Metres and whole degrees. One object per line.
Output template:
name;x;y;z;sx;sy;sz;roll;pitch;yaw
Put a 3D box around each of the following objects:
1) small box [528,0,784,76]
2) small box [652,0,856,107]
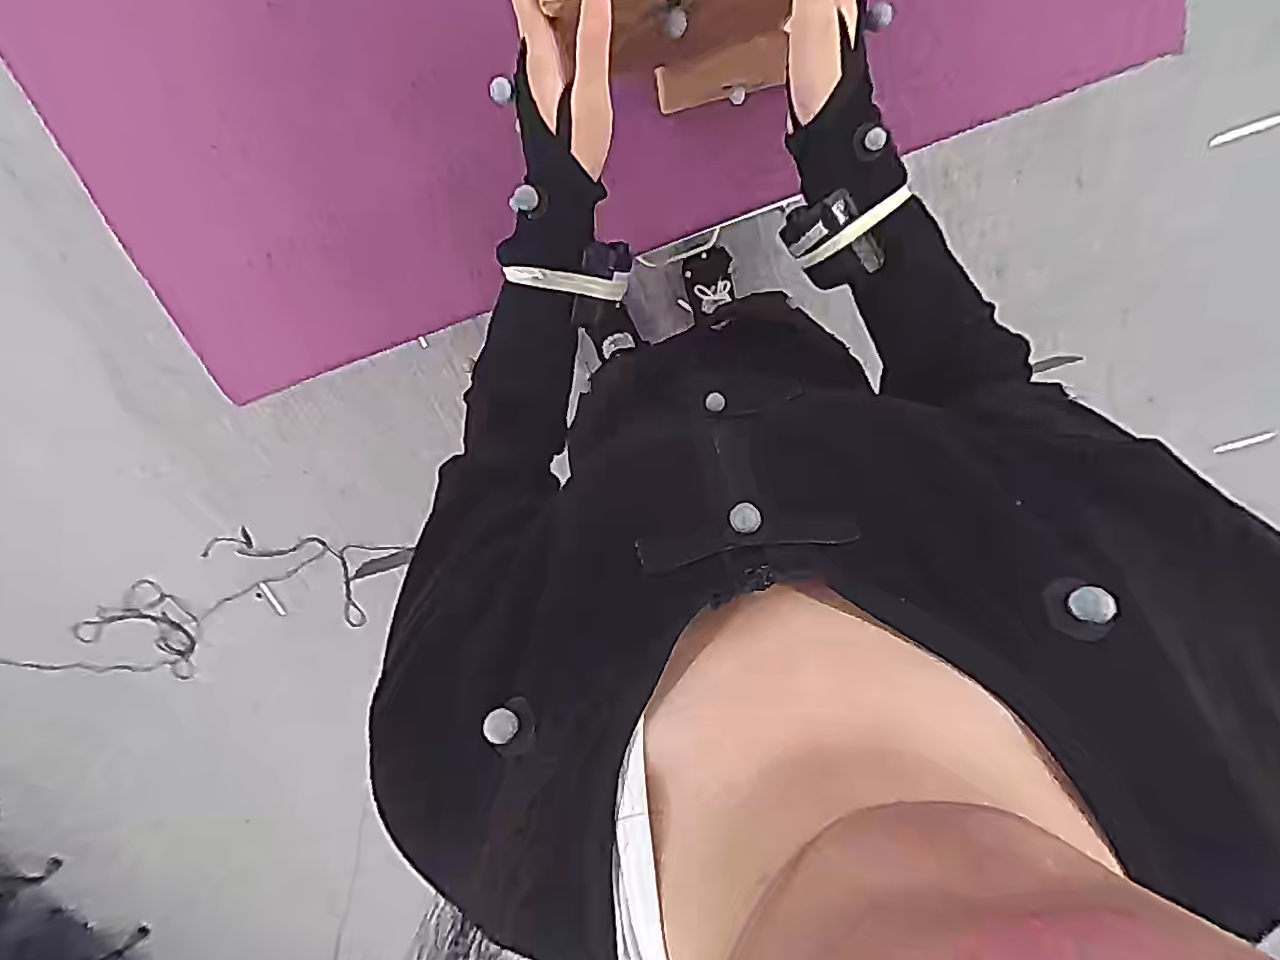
small box;0.009;-0.394;0.349;0.179;0.176;0.168;-9;113;6
small box;0.083;-0.475;0.490;0.168;0.176;0.179;-10;113;6
